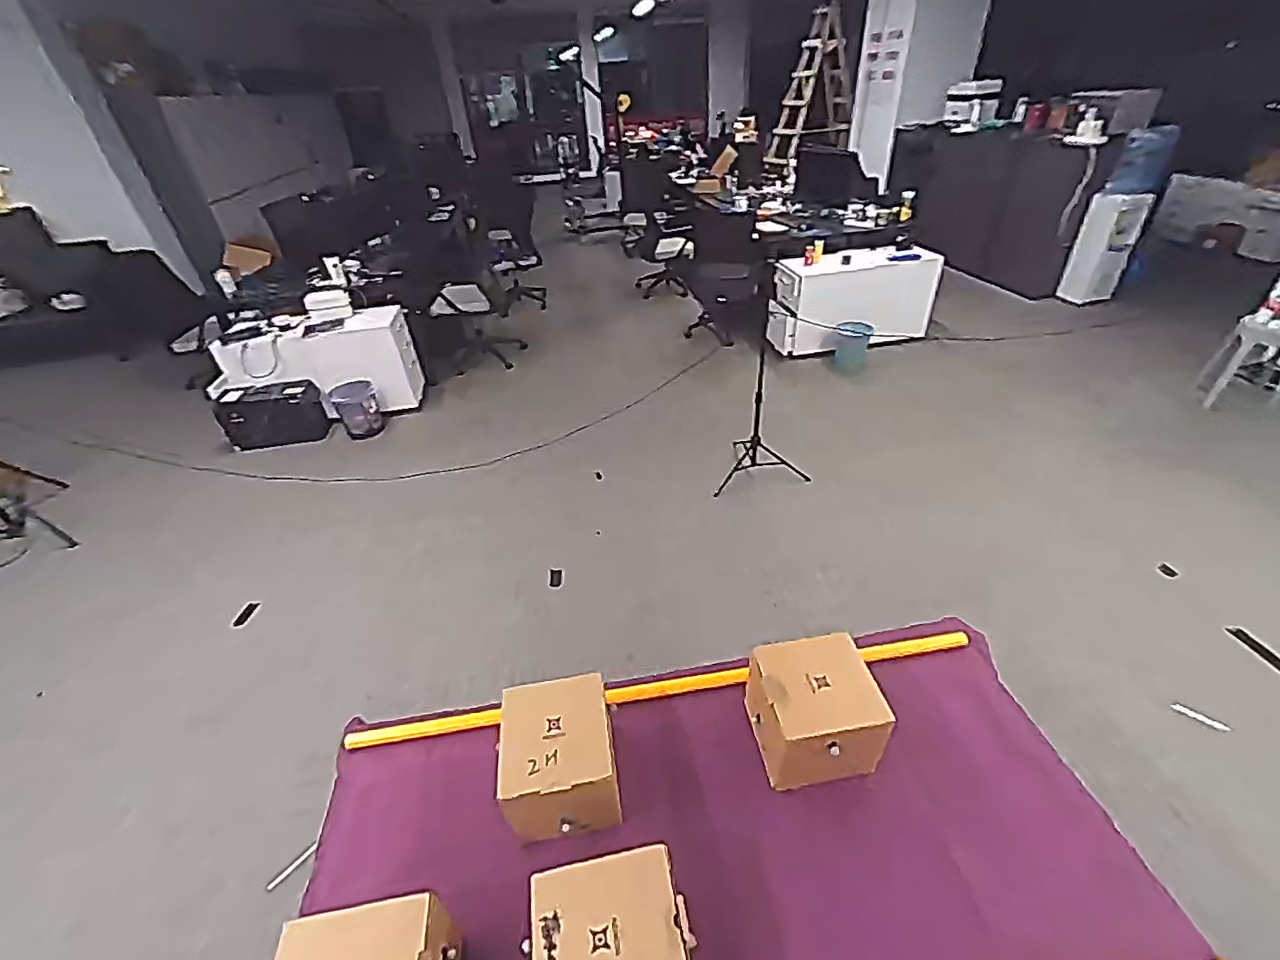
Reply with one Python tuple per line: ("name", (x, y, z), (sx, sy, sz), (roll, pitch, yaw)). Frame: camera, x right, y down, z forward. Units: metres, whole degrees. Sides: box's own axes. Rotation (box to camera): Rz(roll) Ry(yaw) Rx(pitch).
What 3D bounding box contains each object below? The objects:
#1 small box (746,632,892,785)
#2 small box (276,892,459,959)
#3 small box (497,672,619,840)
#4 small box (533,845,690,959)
("small box", (0.289, 0.386, 0.916), (0.179, 0.176, 0.168), (-9, 38, -4))
("small box", (-0.325, 0.632, 0.646), (0.179, 0.176, 0.168), (-7, 36, -7))
("small box", (-0.129, 0.446, 0.879), (0.168, 0.176, 0.179), (-8, 38, -5))
("small box", (-0.033, 0.592, 0.671), (0.179, 0.176, 0.168), (-9, 36, -6))
